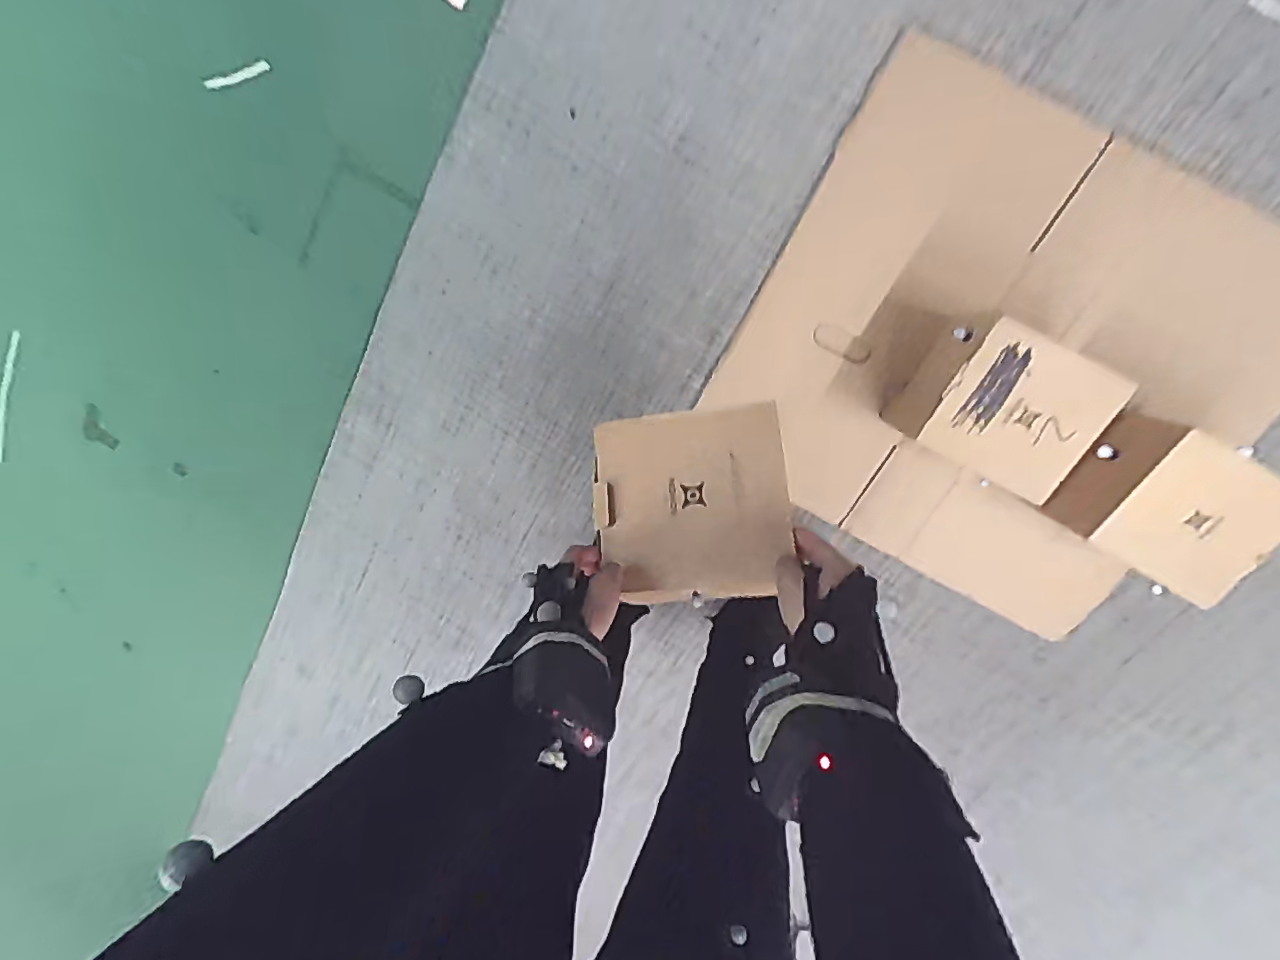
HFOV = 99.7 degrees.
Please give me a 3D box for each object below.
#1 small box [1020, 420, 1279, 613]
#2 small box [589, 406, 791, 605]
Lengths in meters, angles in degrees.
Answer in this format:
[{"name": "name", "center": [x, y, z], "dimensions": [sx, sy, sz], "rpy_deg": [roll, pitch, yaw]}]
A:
[{"name": "small box", "center": [0.659, 0.034, 0.710], "dimensions": [0.179, 0.176, 0.168], "rpy_deg": [30, 108, 0]}, {"name": "small box", "center": [0.053, 0.039, 0.562], "dimensions": [0.179, 0.176, 0.168], "rpy_deg": [-6, 74, 8]}]
